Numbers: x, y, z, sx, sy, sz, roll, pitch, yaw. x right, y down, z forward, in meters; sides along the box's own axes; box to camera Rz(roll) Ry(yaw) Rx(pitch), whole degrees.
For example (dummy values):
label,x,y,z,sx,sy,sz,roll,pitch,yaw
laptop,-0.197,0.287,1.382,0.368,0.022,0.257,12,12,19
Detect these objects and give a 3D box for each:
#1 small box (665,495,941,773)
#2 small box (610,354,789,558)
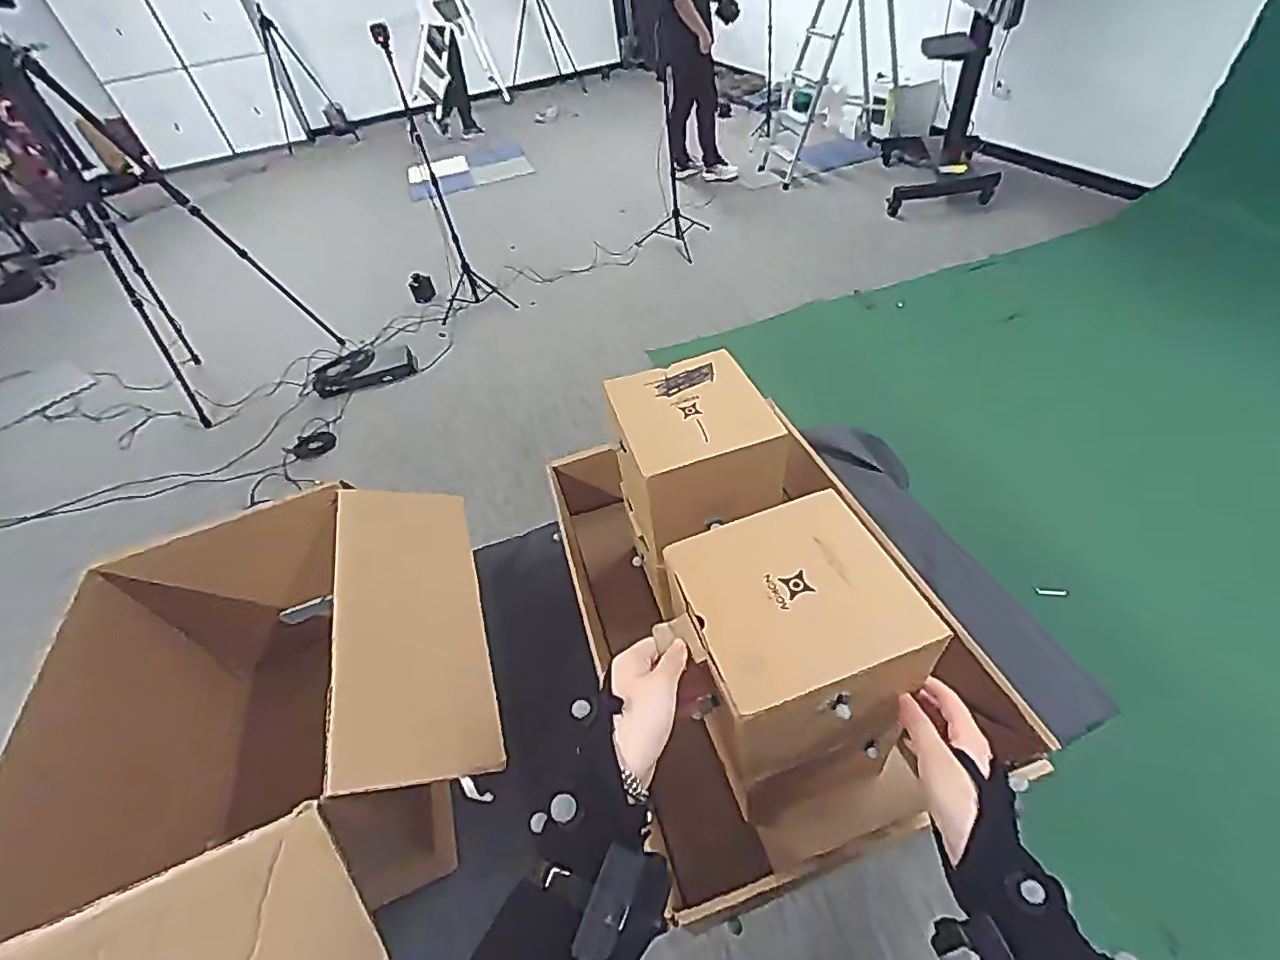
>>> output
label,x,y,z,sx,sy,sz,roll,pitch,yaw
small box,0.138,0.148,0.513,0.179,0.176,0.168,-18,47,-7
small box,0.068,-0.028,0.686,0.168,0.176,0.179,-16,49,-6
